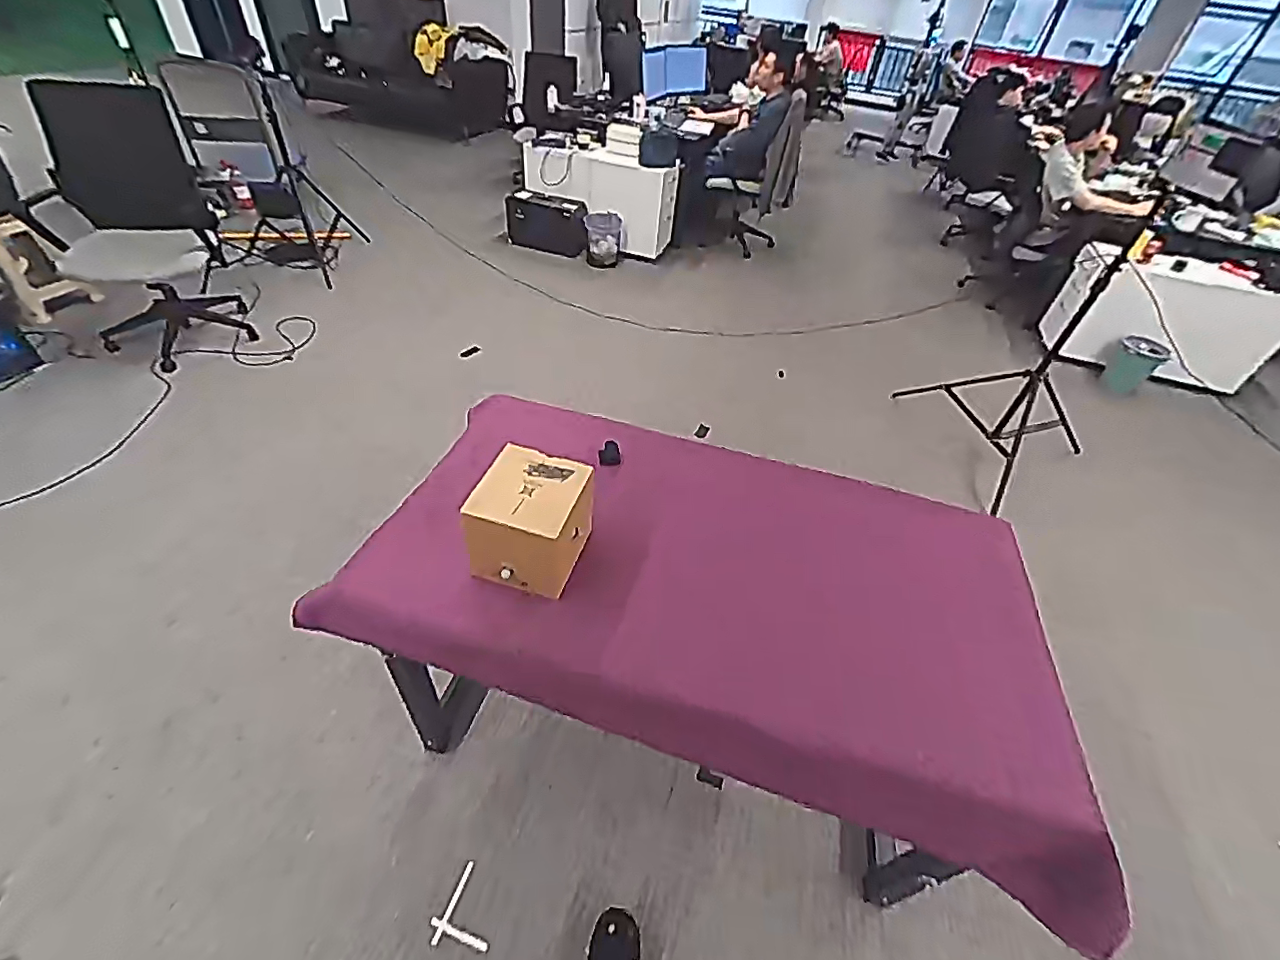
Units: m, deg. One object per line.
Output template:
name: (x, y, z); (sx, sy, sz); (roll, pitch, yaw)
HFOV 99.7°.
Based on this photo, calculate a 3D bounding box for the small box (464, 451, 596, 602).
small box: (-0.186, 0.081, 0.948); (0.168, 0.176, 0.179); (15, 44, 8)
